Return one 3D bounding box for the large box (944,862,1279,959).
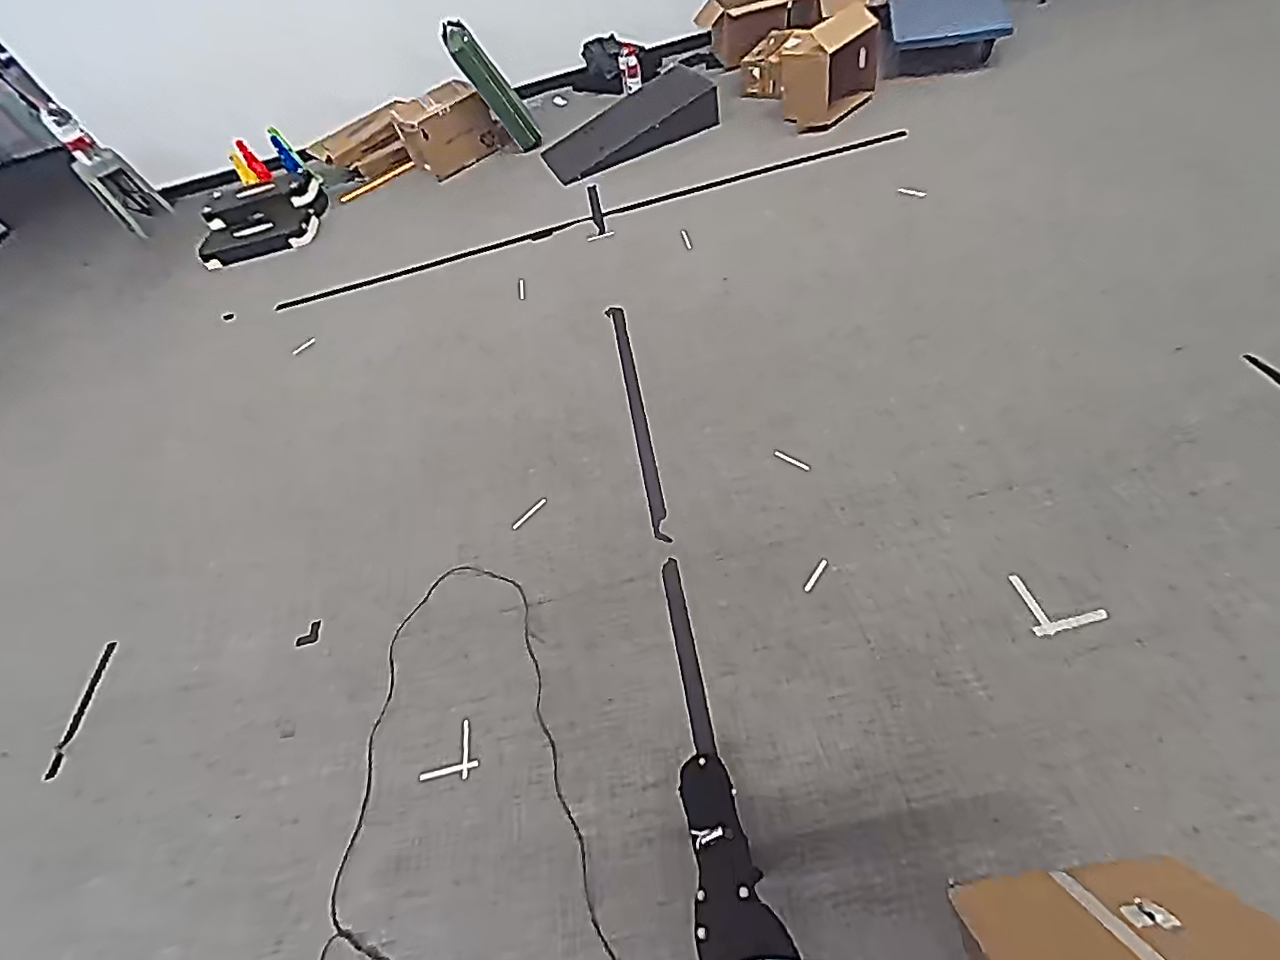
[{"bbox_3d":[0.601,0.683,0.570,0.320,0.408,0.320,-14,73,8],"label":"large box"}]
